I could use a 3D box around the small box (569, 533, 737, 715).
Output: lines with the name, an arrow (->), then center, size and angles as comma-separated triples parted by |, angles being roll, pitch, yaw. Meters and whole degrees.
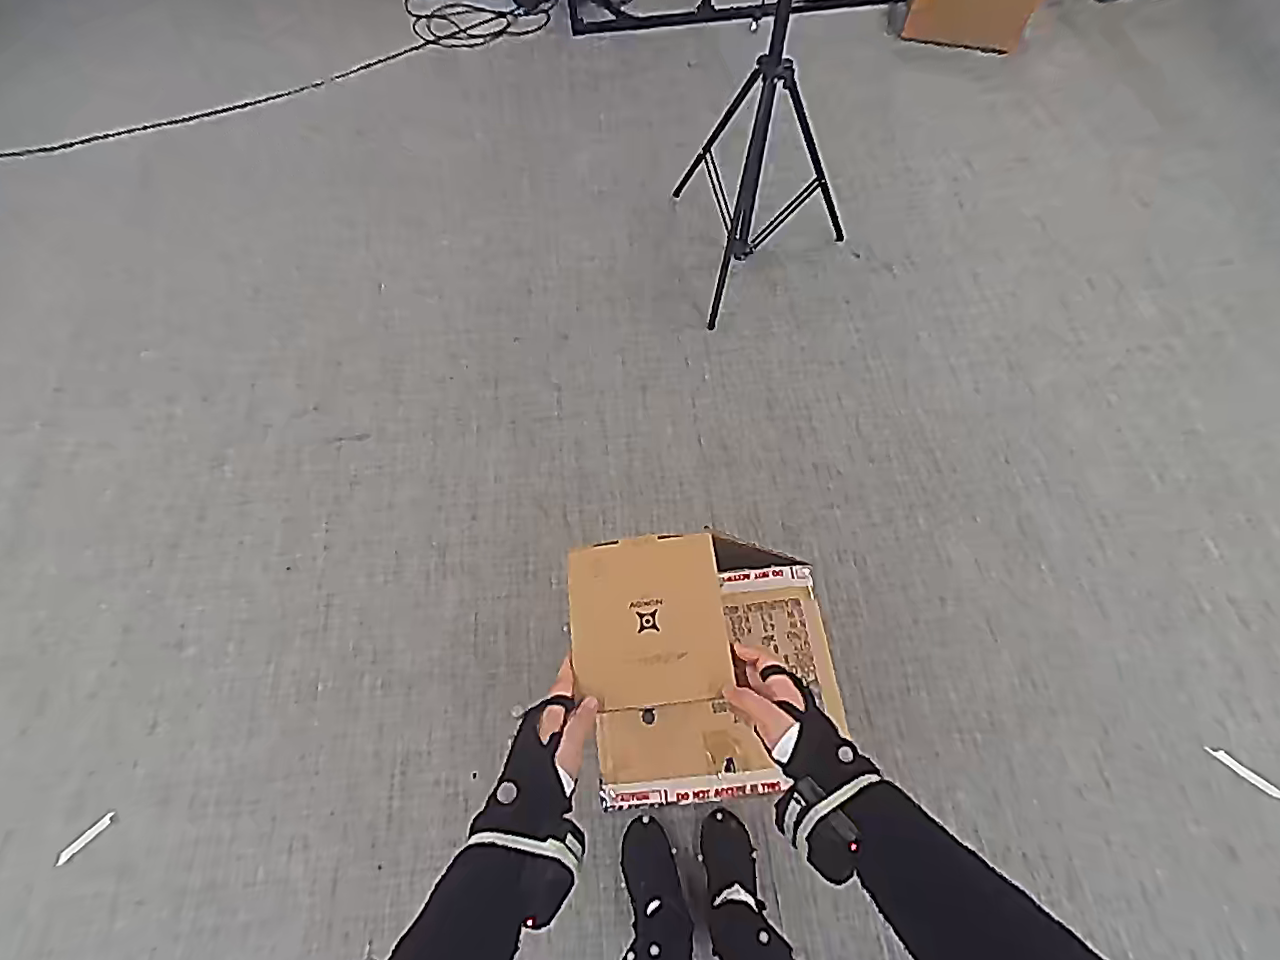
small box -> 0.011, 0.177, 0.648 | 0.168, 0.176, 0.179 | -7, 69, 0
